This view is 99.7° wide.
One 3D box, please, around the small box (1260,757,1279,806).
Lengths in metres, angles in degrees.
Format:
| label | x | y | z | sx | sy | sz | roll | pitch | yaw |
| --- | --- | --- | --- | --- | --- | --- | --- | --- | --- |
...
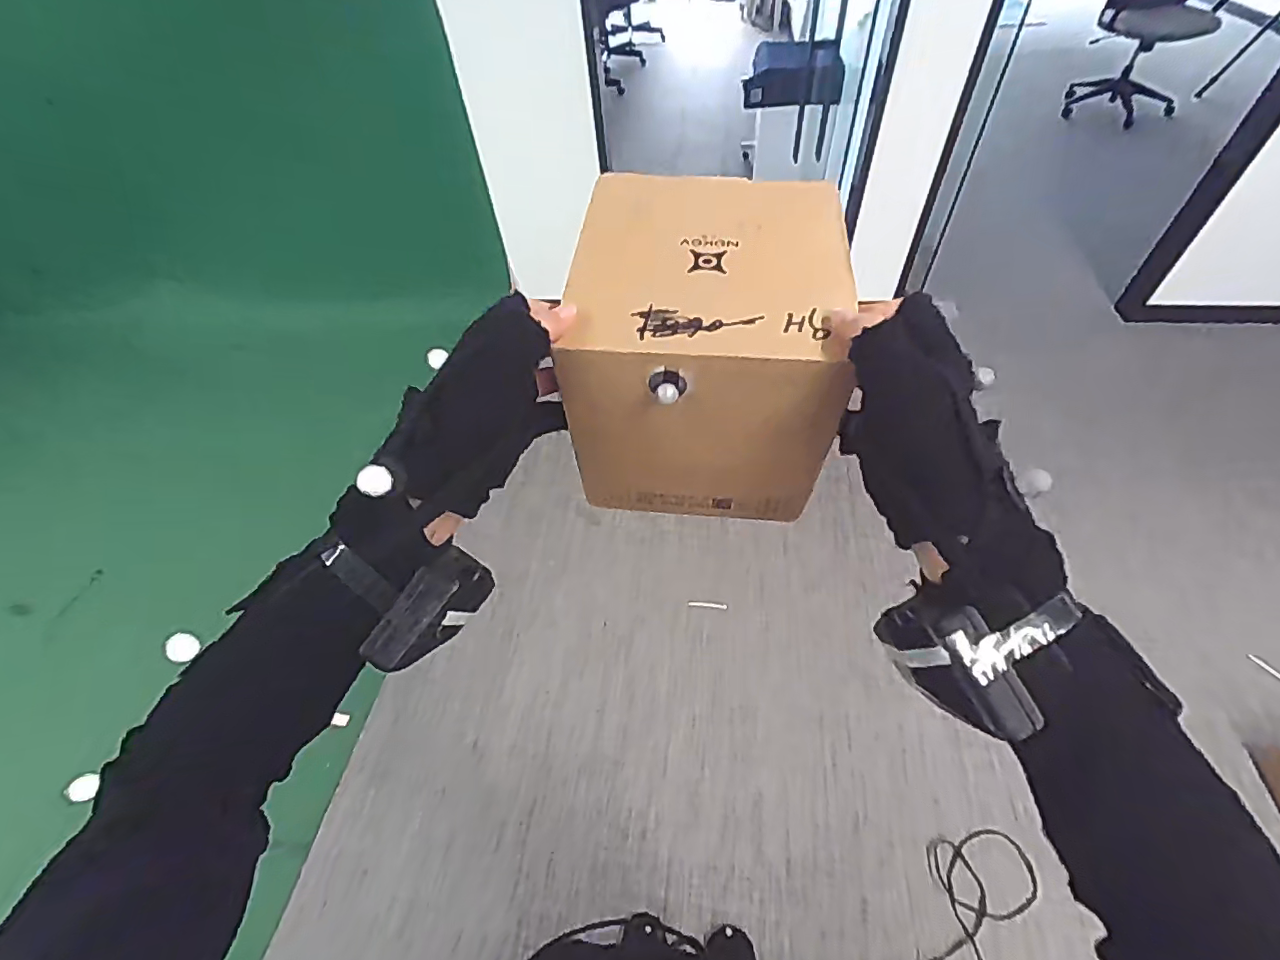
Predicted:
| label | x | y | z | sx | sy | sz | roll | pitch | yaw |
| --- | --- | --- | --- | --- | --- | --- | --- | --- | --- |
| small box | 1.479 | 0.668 | 1.119 | 0.168 | 0.176 | 0.179 | 3 | 51 | 8 |

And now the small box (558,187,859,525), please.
| label | x | y | z | sx | sy | sz | roll | pitch | yaw |
| --- | --- | --- | --- | --- | --- | --- | --- | --- | --- |
| small box | 0.048 | -0.089 | 0.401 | 0.168 | 0.176 | 0.179 | 4 | 56 | 6 |
